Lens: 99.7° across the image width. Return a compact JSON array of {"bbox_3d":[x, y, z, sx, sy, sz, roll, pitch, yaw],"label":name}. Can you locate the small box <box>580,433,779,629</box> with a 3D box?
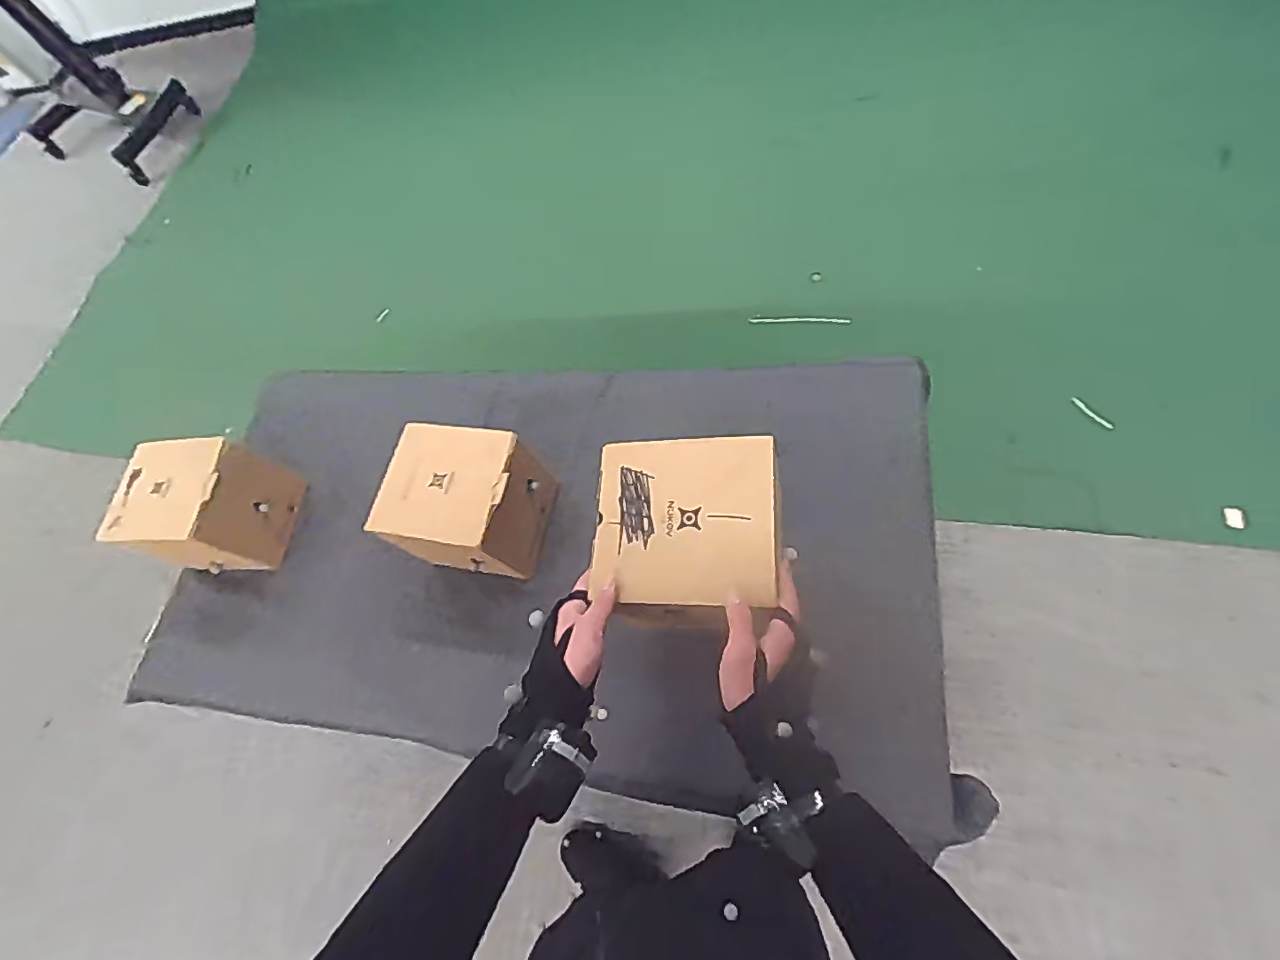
[{"bbox_3d":[0.055,0.063,0.578,0.179,0.176,0.168,-1,68,16],"label":"small box"}]

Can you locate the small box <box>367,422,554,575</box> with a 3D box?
[{"bbox_3d":[-0.245,0.033,0.787,0.179,0.176,0.168,5,66,16],"label":"small box"}]

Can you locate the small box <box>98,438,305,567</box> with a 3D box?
[{"bbox_3d":[-0.696,0.042,0.885,0.179,0.176,0.168,-1,66,11],"label":"small box"}]
